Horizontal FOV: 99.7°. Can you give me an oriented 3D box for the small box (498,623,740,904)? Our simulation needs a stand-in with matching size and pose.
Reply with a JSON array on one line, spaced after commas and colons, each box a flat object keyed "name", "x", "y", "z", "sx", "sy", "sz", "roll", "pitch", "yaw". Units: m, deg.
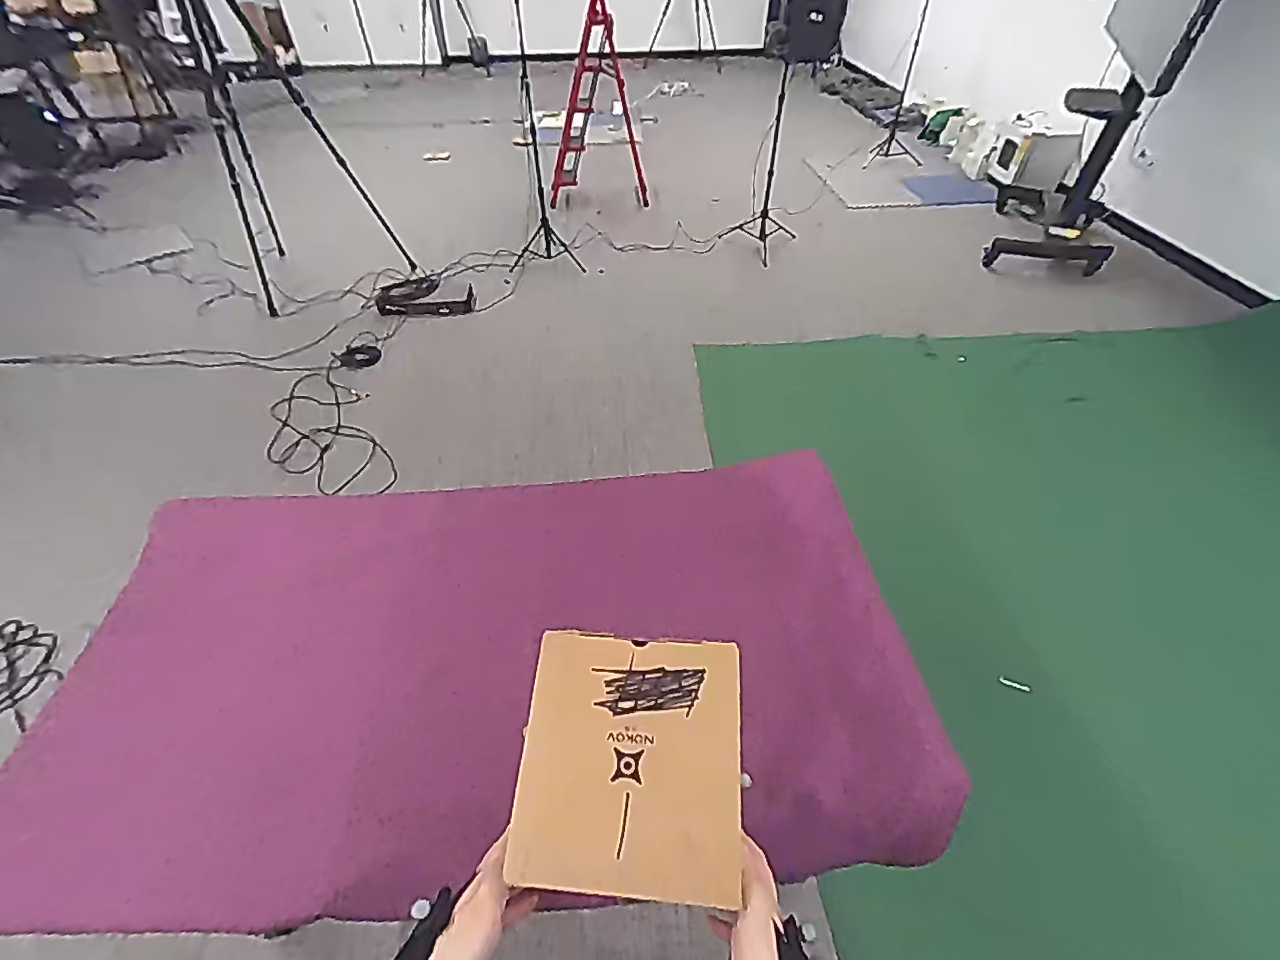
[{"name": "small box", "x": -0.004, "y": 0.239, "z": 0.468, "sx": 0.168, "sy": 0.176, "sz": 0.179, "roll": 2, "pitch": 59, "yaw": 6}]
